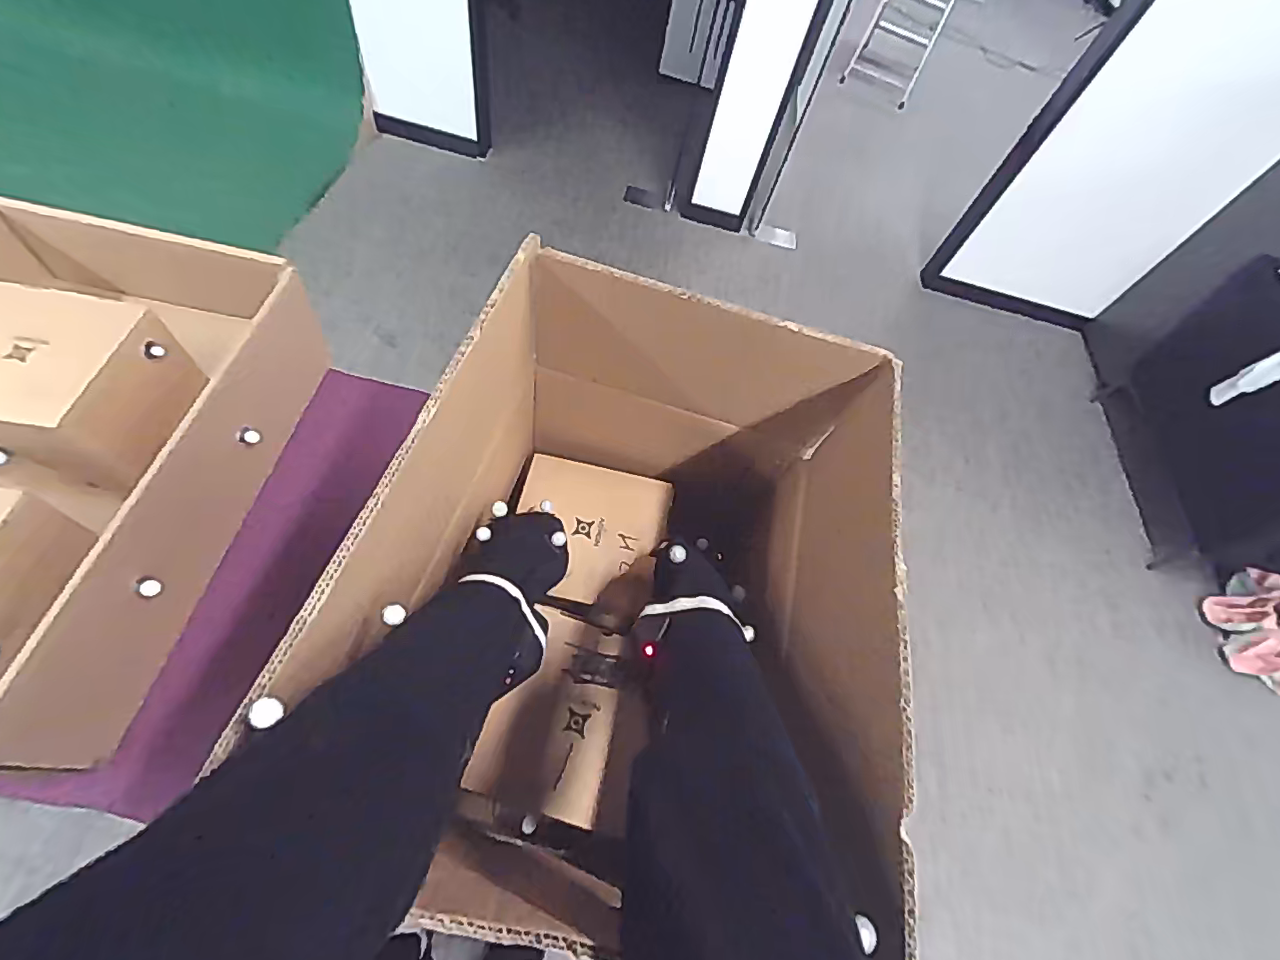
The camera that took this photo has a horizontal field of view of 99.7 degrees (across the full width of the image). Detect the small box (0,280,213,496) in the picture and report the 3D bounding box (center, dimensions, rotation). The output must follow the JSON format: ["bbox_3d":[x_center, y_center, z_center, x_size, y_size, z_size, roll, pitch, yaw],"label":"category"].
[{"bbox_3d":[-0.657,-0.099,0.634,0.168,0.176,0.179,8,59,-6],"label":"small box"}]
